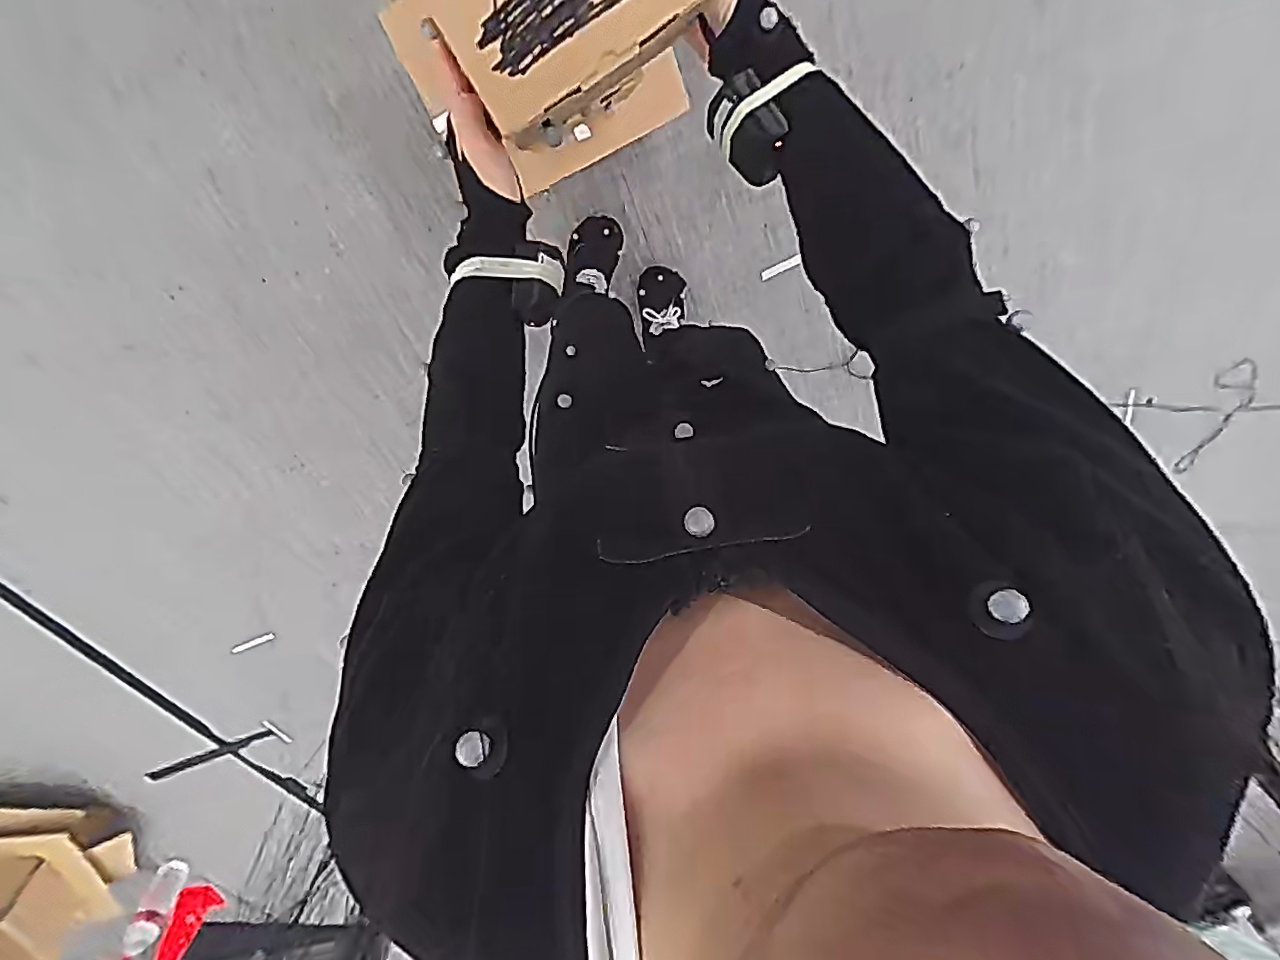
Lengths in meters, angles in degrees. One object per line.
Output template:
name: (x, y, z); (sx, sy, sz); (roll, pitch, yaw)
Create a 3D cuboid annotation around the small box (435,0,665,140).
small box: (-0.097, -0.456, 0.515); (0.168, 0.176, 0.179); (-30, 119, 7)

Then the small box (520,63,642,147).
small box: (-0.113, -0.534, 0.659); (0.168, 0.176, 0.179); (-27, 118, 6)
